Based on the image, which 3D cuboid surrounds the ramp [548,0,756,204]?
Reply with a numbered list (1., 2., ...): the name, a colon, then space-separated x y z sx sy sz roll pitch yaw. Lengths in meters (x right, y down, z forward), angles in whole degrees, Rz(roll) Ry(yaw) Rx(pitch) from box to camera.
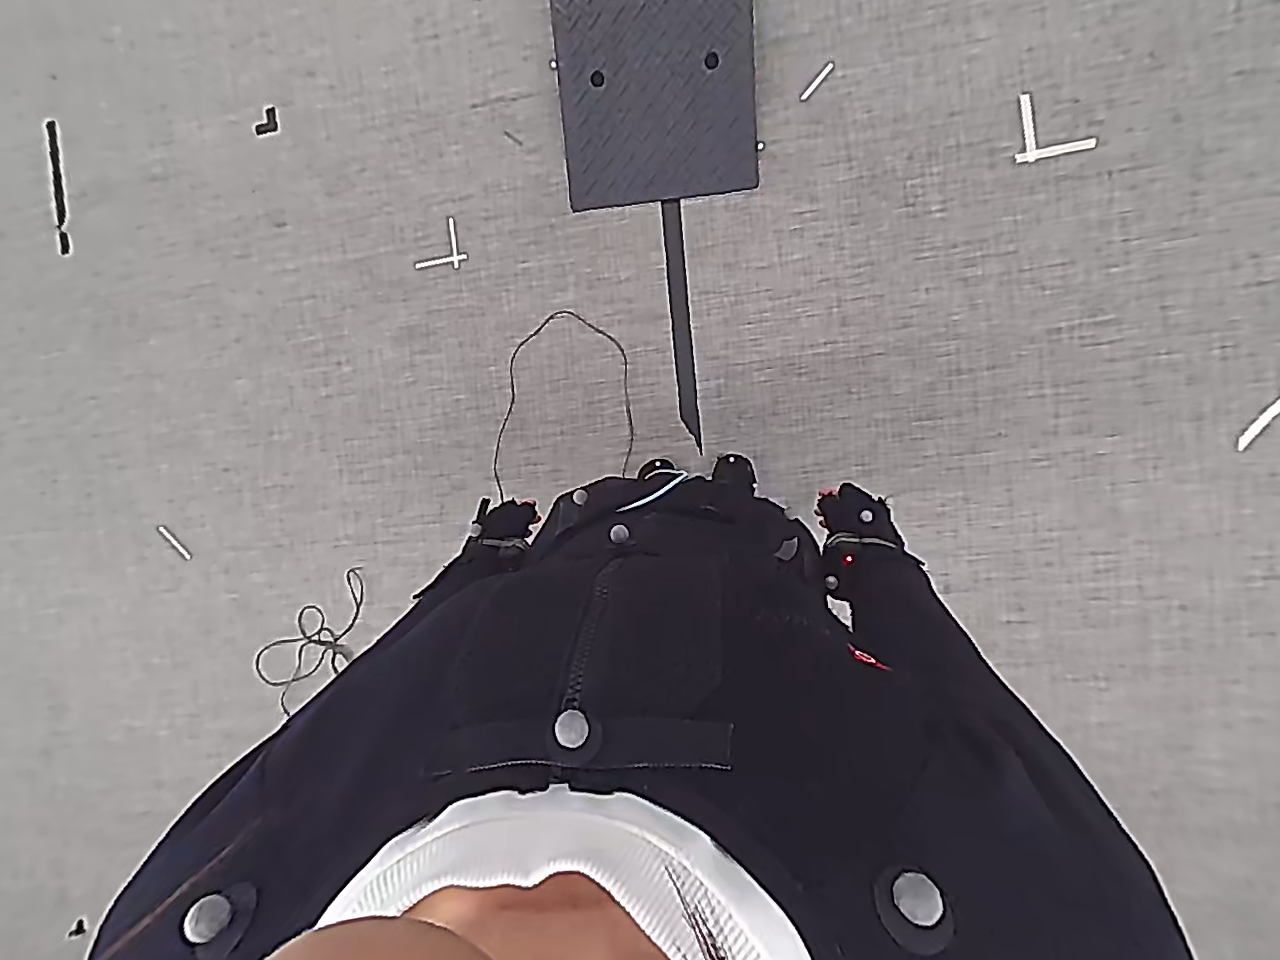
1. ramp: 0.014 -1.226 1.288 0.509 0.206 0.991 -5 93 7
